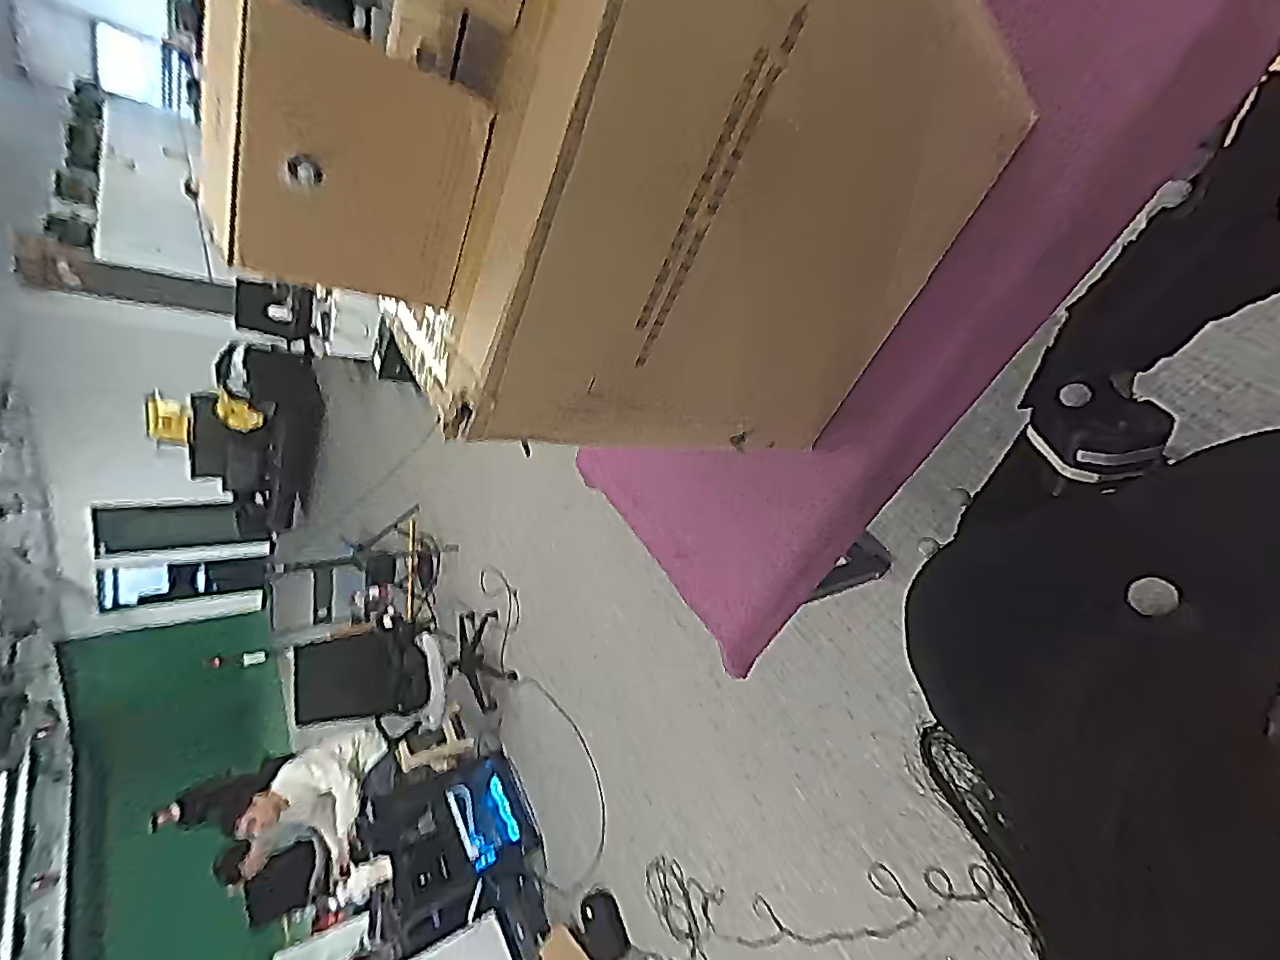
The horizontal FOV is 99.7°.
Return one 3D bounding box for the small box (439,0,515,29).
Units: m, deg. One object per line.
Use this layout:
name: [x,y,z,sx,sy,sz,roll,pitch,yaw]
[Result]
small box: [-0.164,-0.449,0.350,0.168,0.176,0.179,50,126,33]
